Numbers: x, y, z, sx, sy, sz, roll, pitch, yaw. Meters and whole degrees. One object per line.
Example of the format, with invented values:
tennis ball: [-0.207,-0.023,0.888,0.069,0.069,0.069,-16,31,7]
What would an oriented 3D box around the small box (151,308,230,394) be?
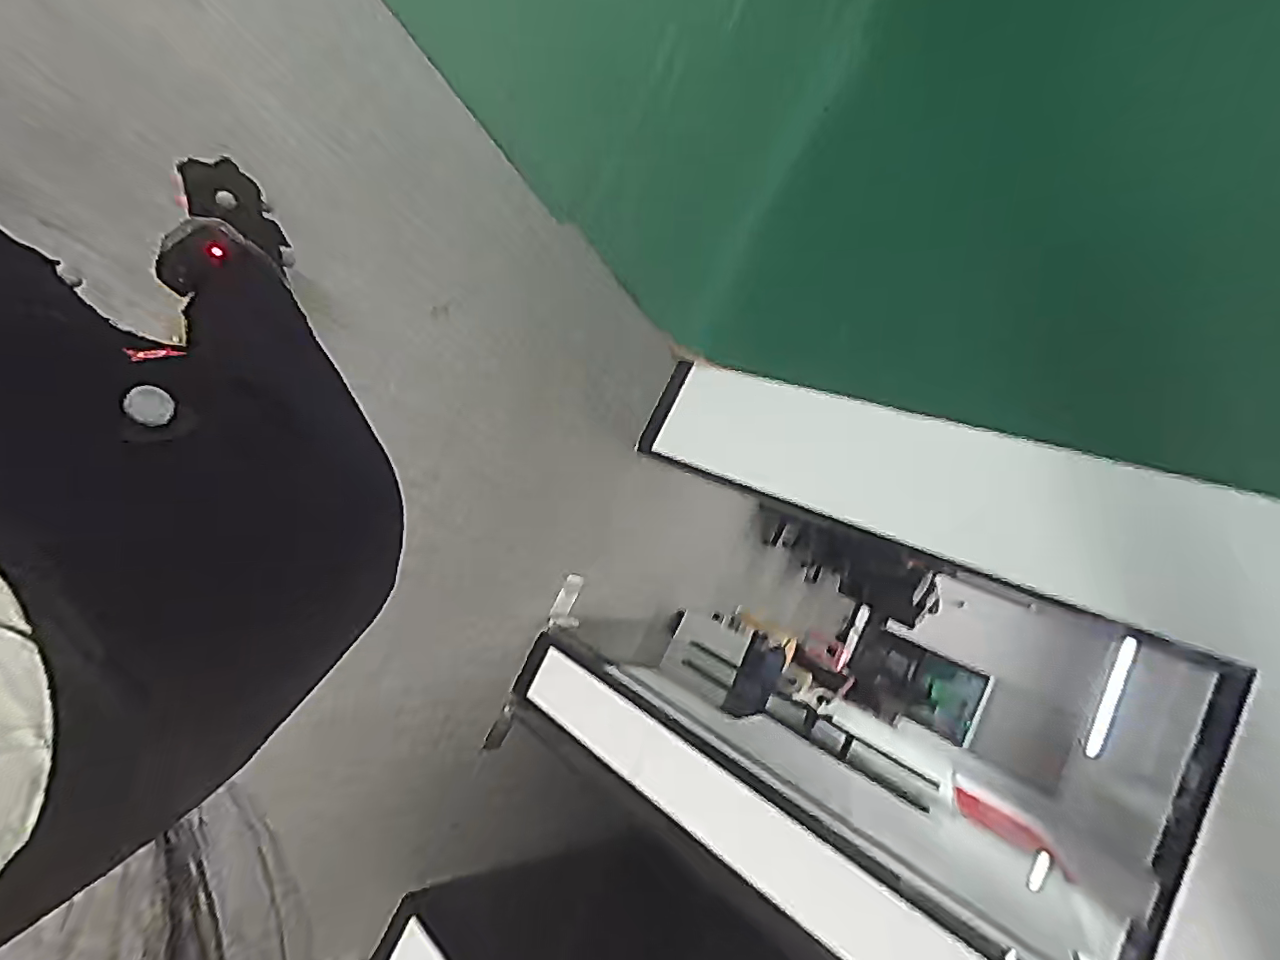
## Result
small box: [-0.870,-0.233,1.131,0.179,0.176,0.168,-60,147,-12]
